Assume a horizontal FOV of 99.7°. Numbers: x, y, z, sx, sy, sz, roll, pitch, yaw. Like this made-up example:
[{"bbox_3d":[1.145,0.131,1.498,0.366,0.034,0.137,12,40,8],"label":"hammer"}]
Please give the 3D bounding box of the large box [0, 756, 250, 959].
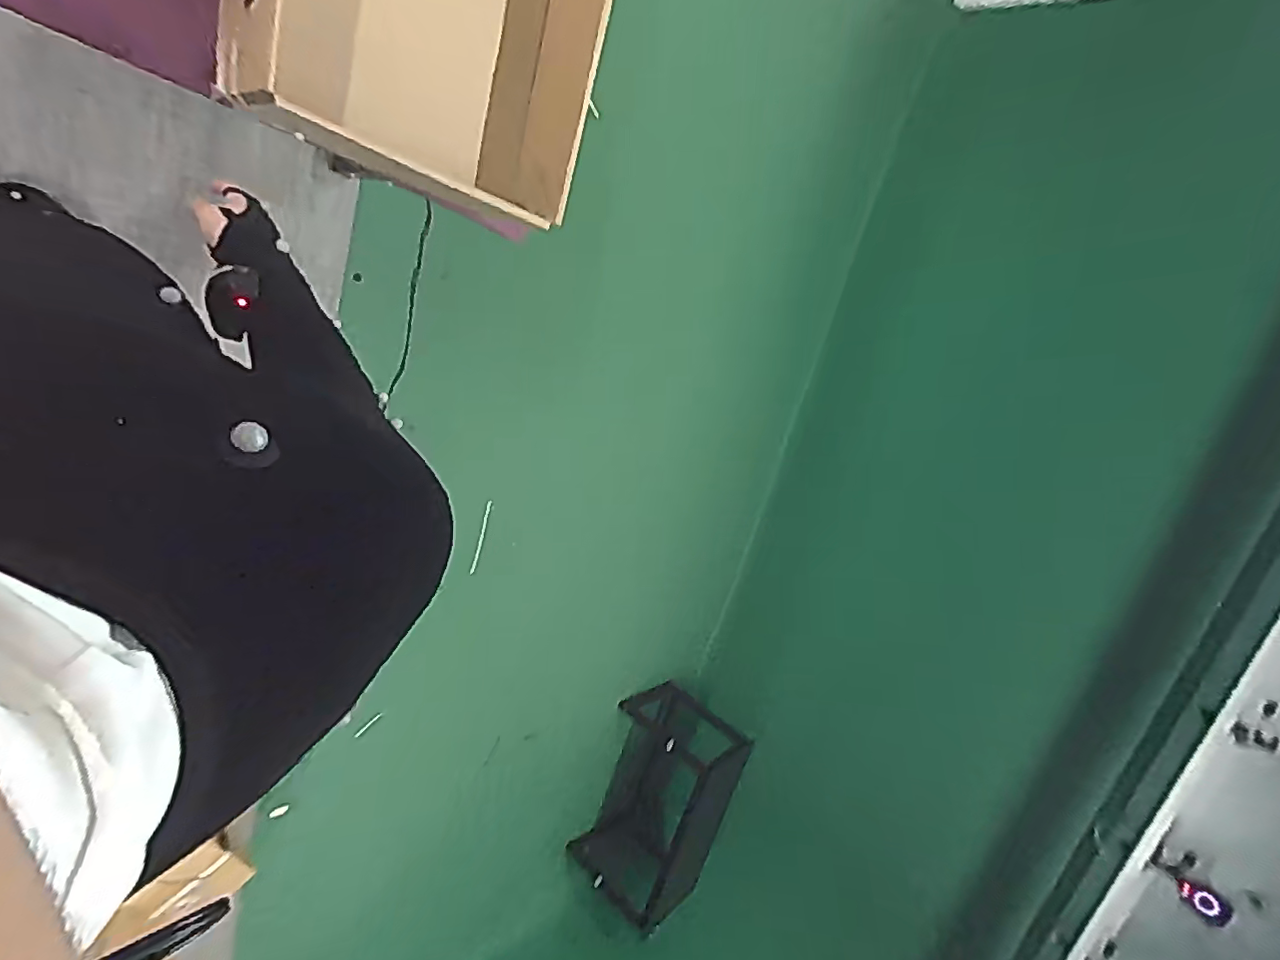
[{"bbox_3d":[-1.402,1.072,1.477,0.408,0.320,0.320,-38,138,-33],"label":"large box"}]
